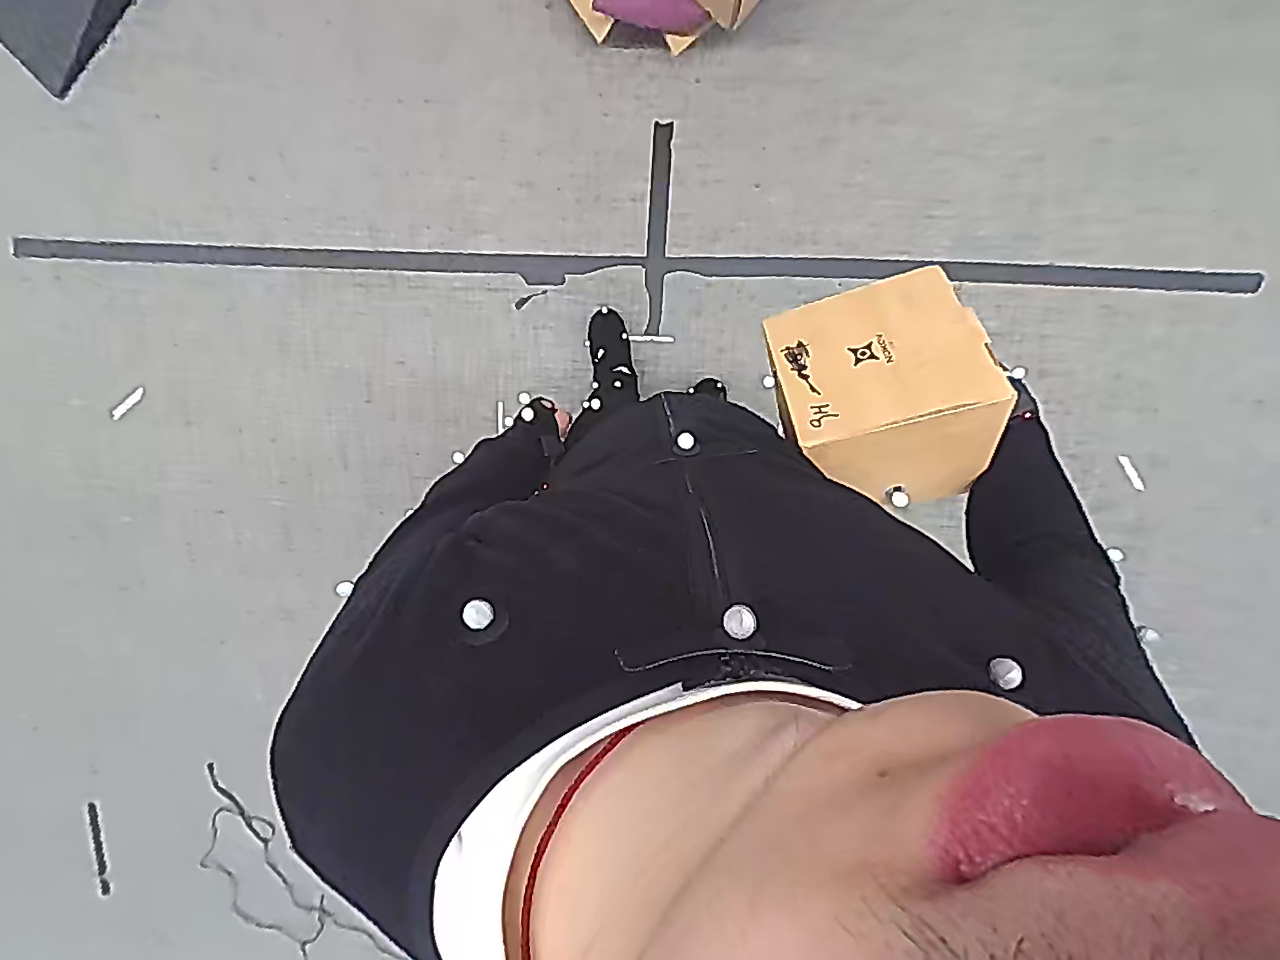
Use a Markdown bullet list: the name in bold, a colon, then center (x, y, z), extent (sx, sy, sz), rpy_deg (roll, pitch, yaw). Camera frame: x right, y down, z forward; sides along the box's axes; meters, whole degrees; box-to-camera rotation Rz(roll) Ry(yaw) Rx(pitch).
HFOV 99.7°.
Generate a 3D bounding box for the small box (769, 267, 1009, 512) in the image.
- **small box**: center (0.247, -0.085, 0.576), extent (0.179, 0.168, 0.176), rpy_deg (-14, 147, 14)
